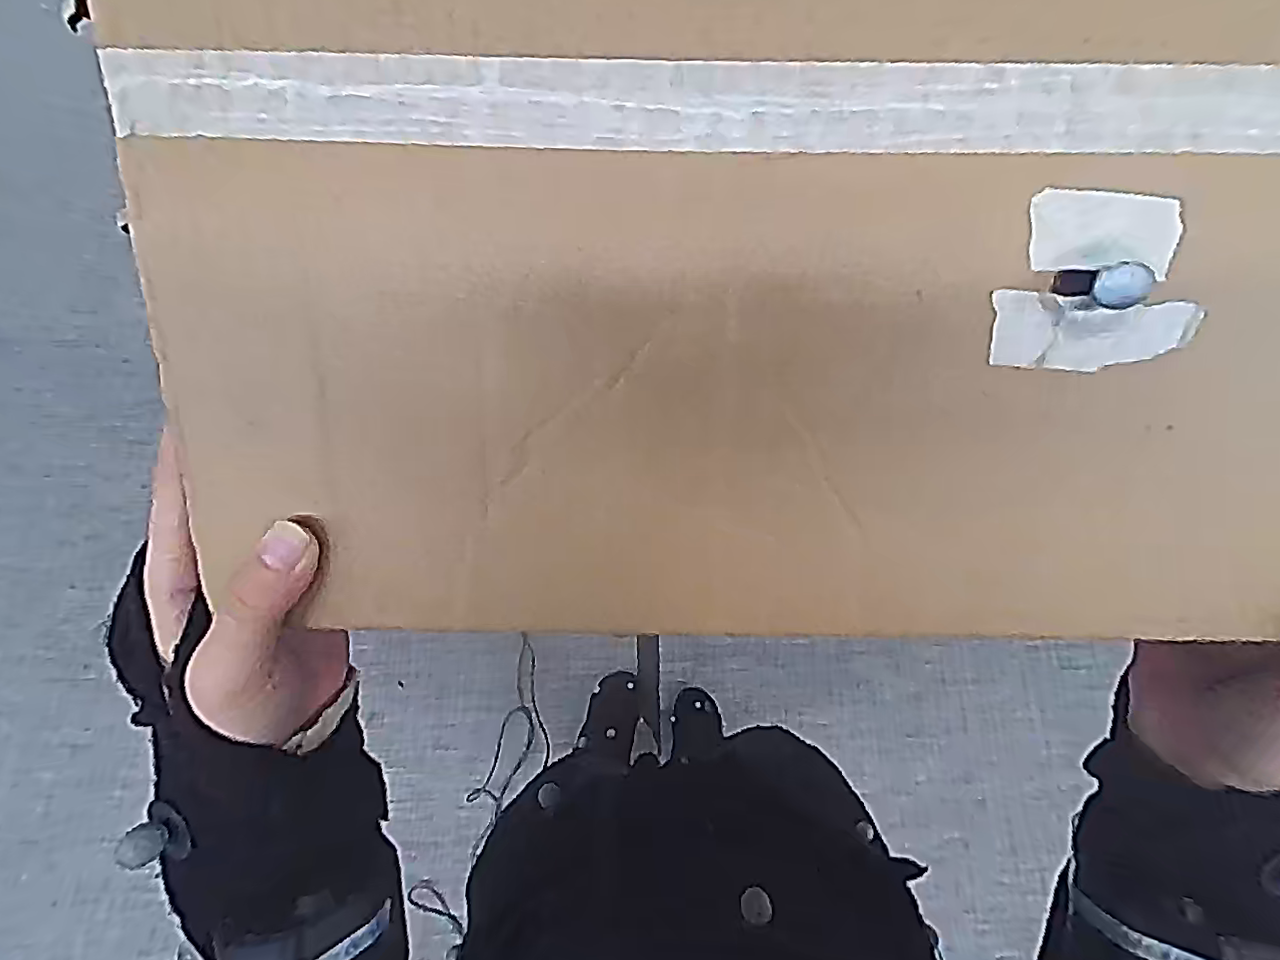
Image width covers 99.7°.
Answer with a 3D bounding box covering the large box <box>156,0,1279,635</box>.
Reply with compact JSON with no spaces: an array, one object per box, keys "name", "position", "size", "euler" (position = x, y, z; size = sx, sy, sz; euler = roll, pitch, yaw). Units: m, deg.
[{"name":"large box","position":[0.060,-0.128,0.305],"size":[0.408,0.320,0.320],"euler":[0,103,-1]}]
